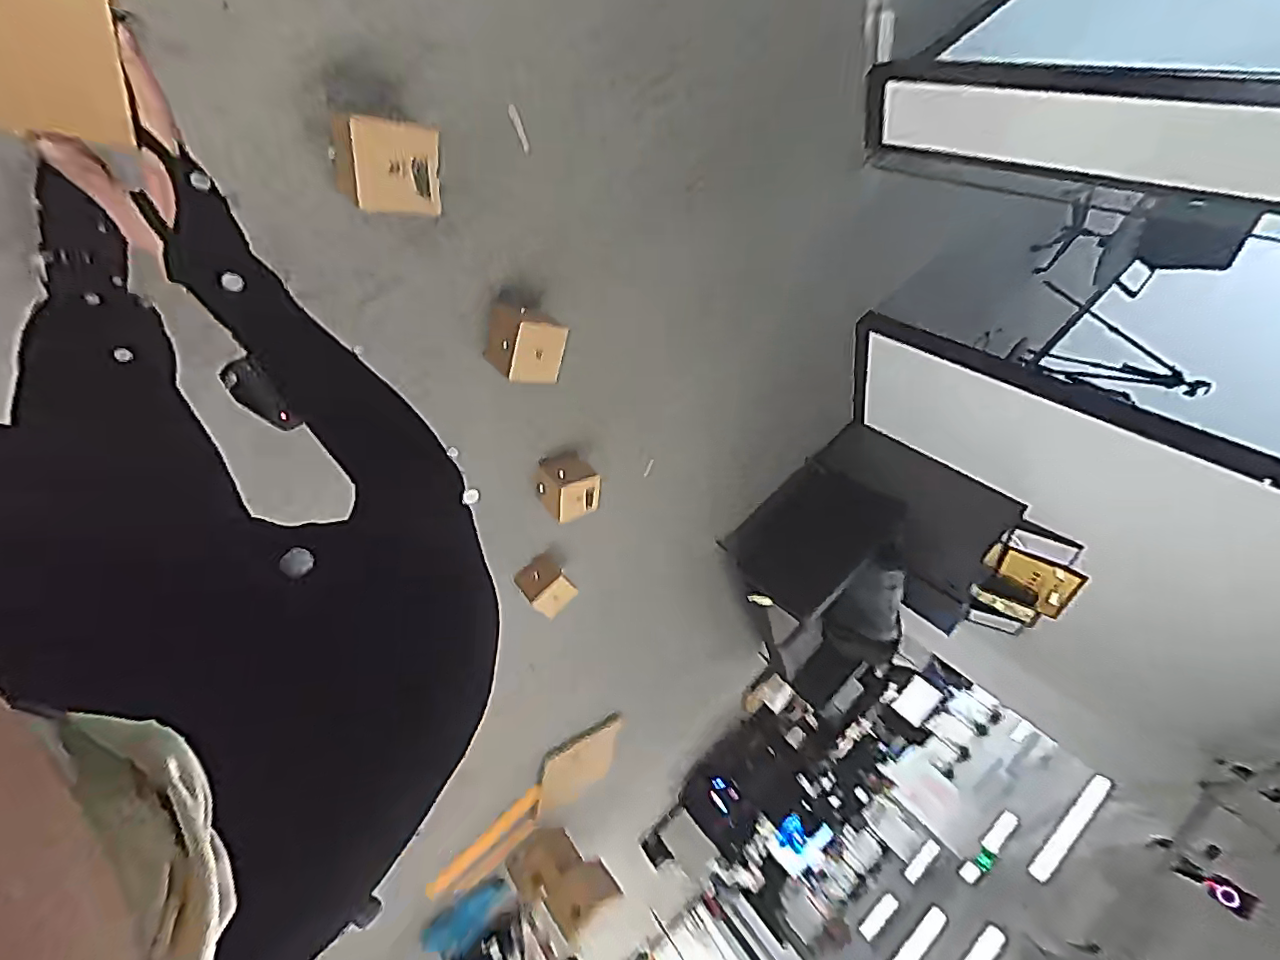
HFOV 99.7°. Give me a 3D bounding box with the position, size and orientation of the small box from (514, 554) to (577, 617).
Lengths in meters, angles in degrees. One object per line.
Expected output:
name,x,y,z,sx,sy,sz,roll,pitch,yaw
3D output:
small box,-0.402,0.441,2.284,0.168,0.176,0.179,-43,143,-10

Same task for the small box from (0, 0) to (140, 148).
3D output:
small box,-0.461,-0.353,0.357,0.168,0.176,0.179,-11,133,-37

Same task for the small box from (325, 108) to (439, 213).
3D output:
small box,-0.553,-0.688,1.167,0.179,0.176,0.168,-17,131,-37
